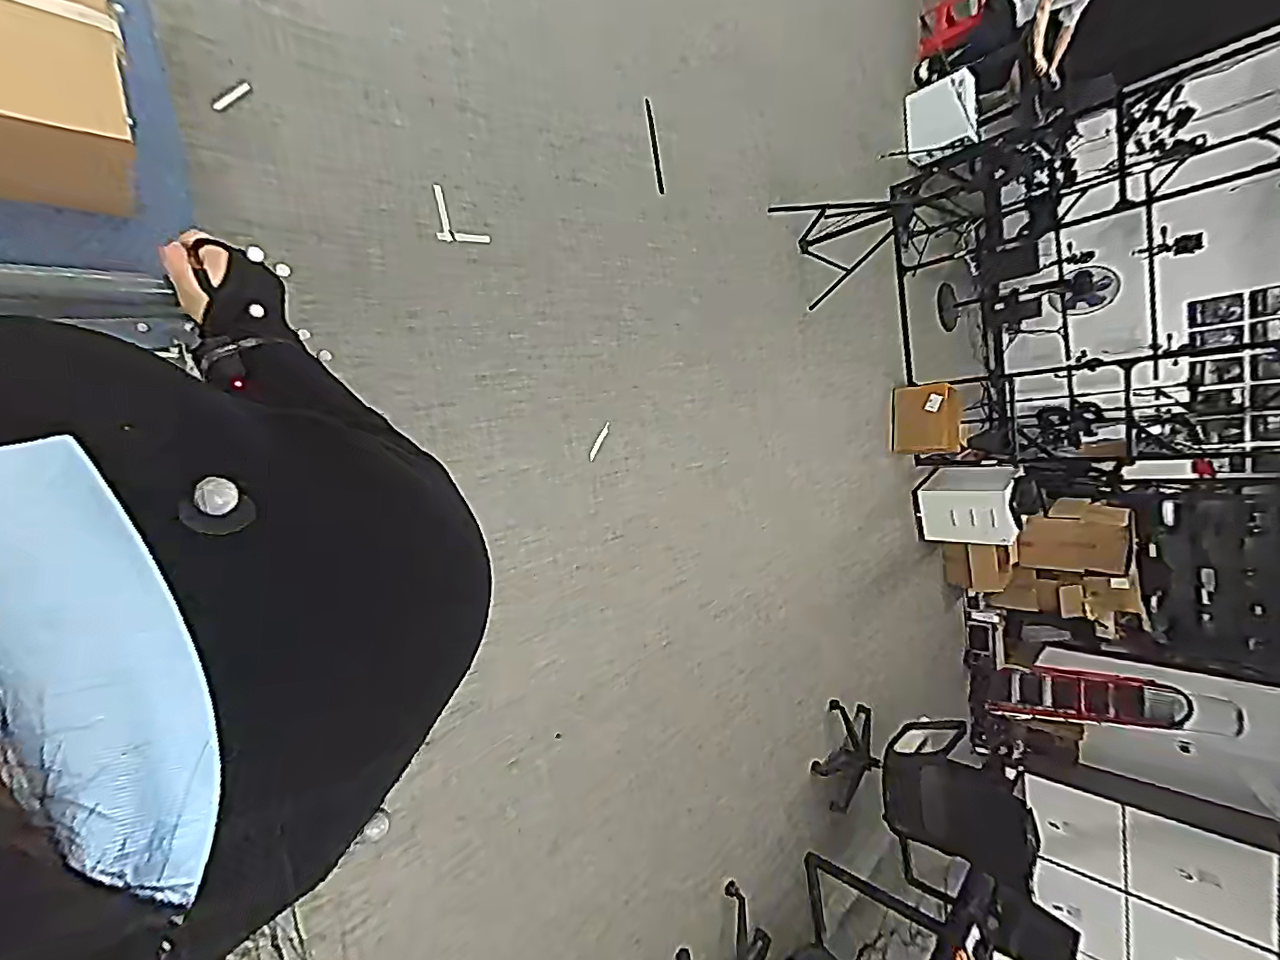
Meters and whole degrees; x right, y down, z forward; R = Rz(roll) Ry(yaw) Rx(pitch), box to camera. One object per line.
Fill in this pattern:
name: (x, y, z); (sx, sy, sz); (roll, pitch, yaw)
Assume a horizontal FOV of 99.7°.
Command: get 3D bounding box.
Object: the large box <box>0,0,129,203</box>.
large box: (-0.990, -0.615, 0.725); (0.408, 0.320, 0.320); (-11, 97, -42)
